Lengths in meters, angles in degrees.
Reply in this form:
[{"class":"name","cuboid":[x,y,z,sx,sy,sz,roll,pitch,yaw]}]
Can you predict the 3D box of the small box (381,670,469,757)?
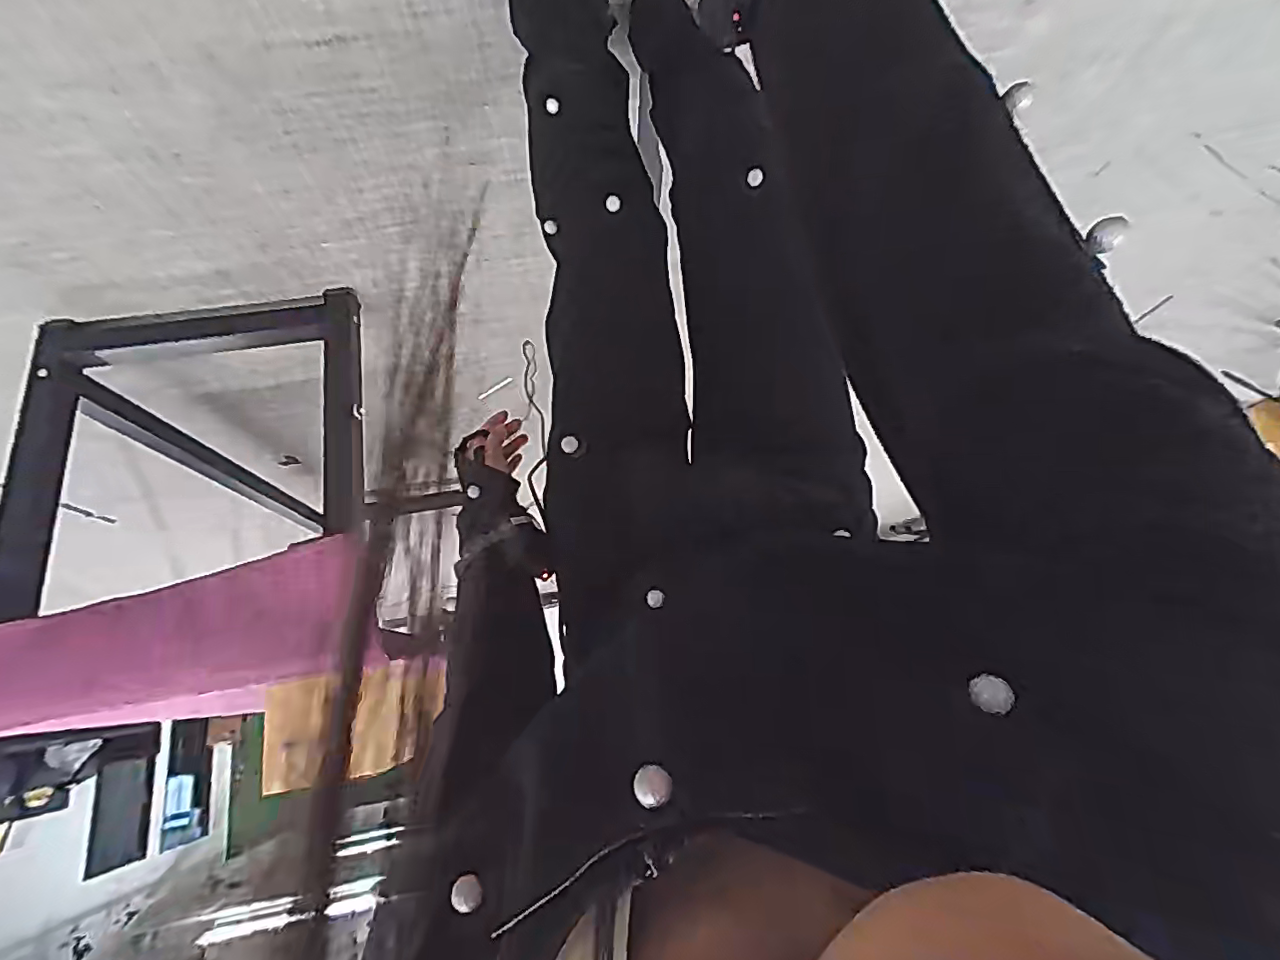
[{"class":"small box","cuboid":[-0.543,0.583,1.370,0.168,0.176,0.179,-10,161,-7]}]
